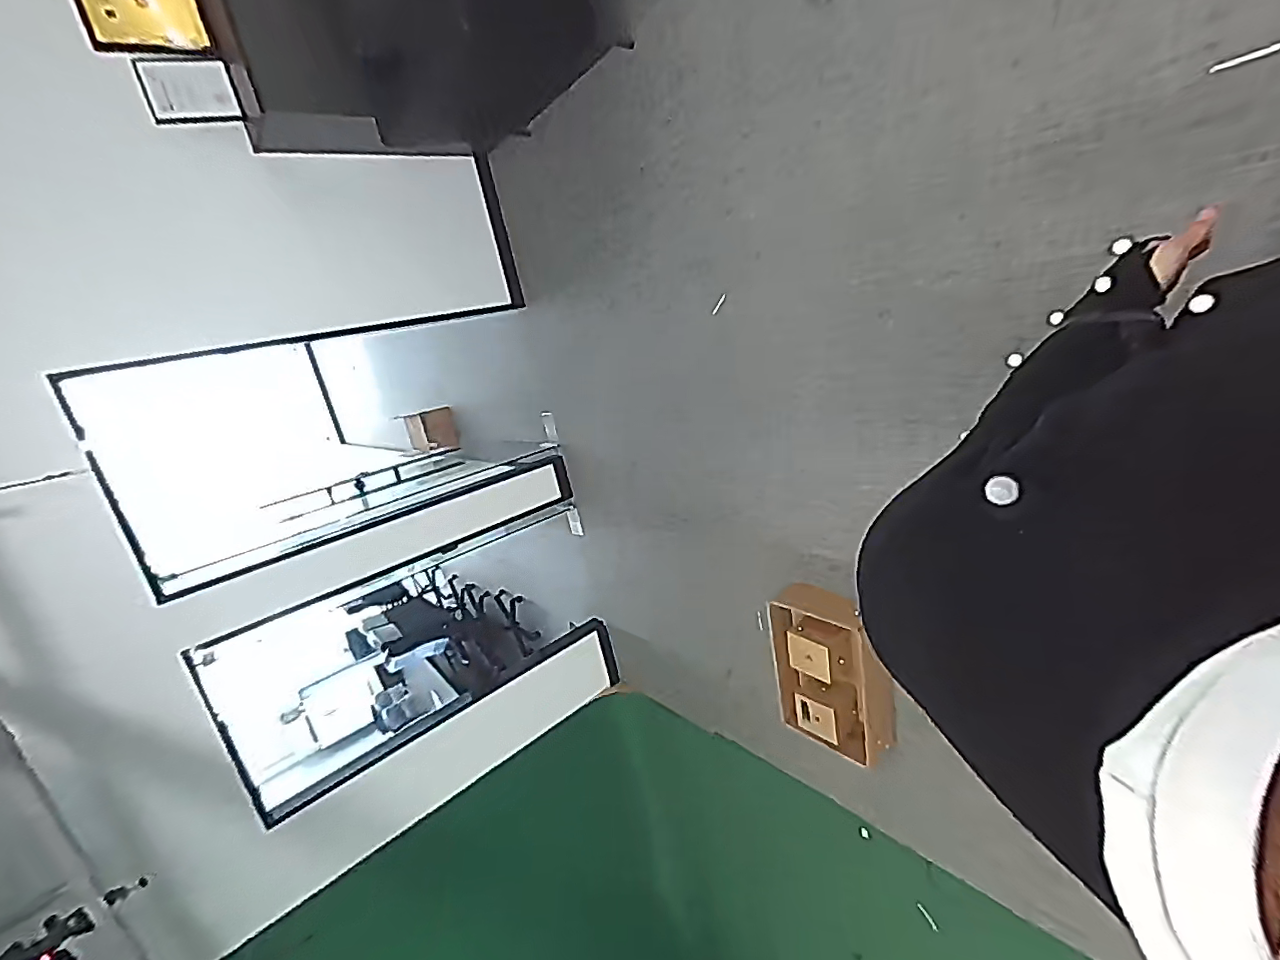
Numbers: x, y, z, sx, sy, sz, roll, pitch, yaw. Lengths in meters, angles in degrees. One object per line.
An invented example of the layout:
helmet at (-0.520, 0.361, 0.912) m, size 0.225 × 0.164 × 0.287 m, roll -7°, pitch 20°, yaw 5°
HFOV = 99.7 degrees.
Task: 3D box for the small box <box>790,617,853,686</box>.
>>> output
small box at (0.706, 0.652, 2.082) m, size 0.179 × 0.176 × 0.168 m, roll 11°, pitch 117°, yaw 50°
